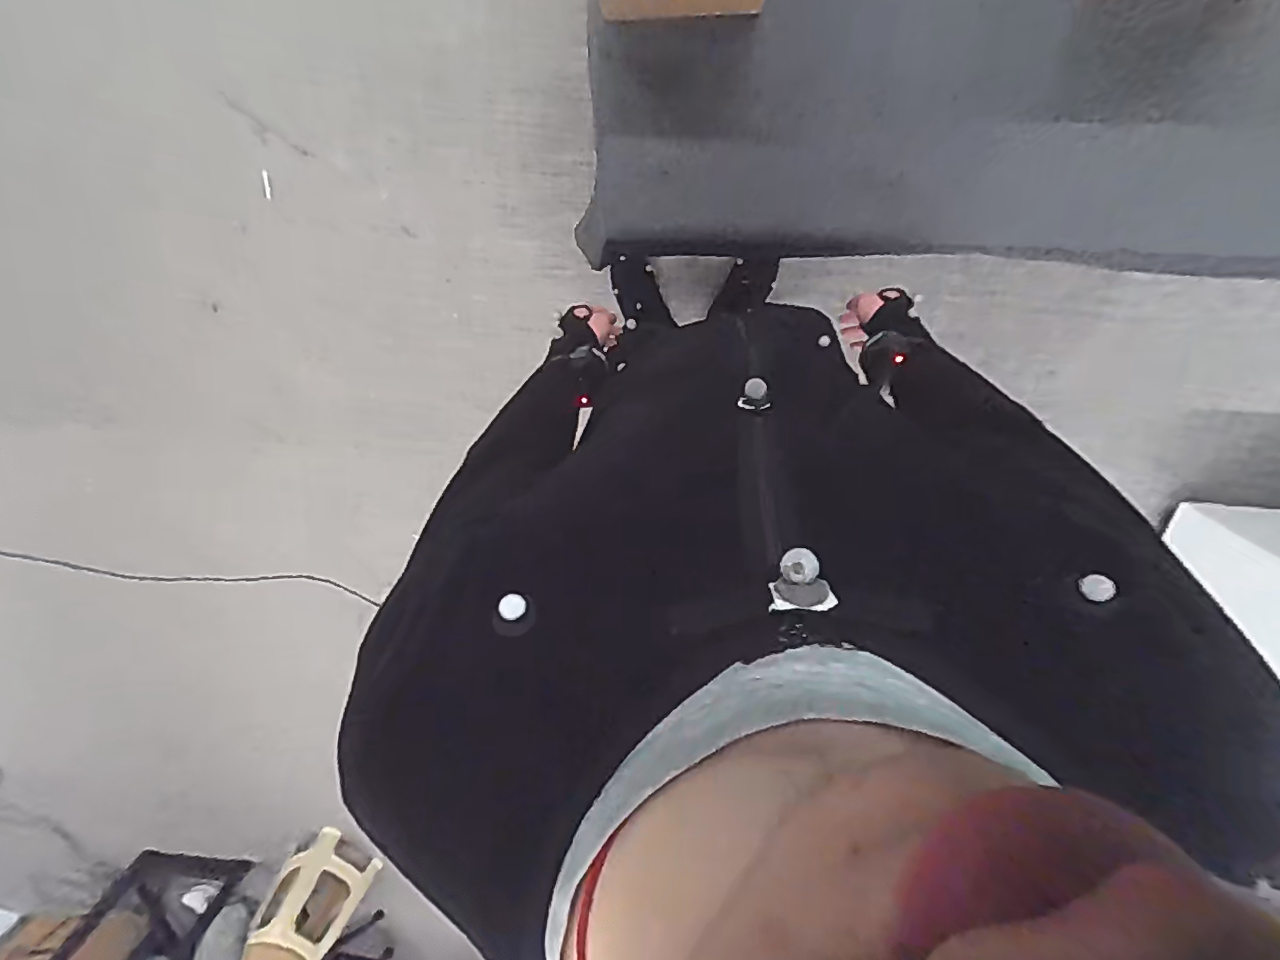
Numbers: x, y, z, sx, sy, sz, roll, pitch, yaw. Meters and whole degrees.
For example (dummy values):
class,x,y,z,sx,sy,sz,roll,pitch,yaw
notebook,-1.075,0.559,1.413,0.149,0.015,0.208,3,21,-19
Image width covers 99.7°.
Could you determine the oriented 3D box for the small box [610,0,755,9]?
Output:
class,x,y,z,sx,sy,sz,roll,pitch,yaw
small box,0.046,-0.555,0.484,0.179,0.176,0.168,0,115,1
